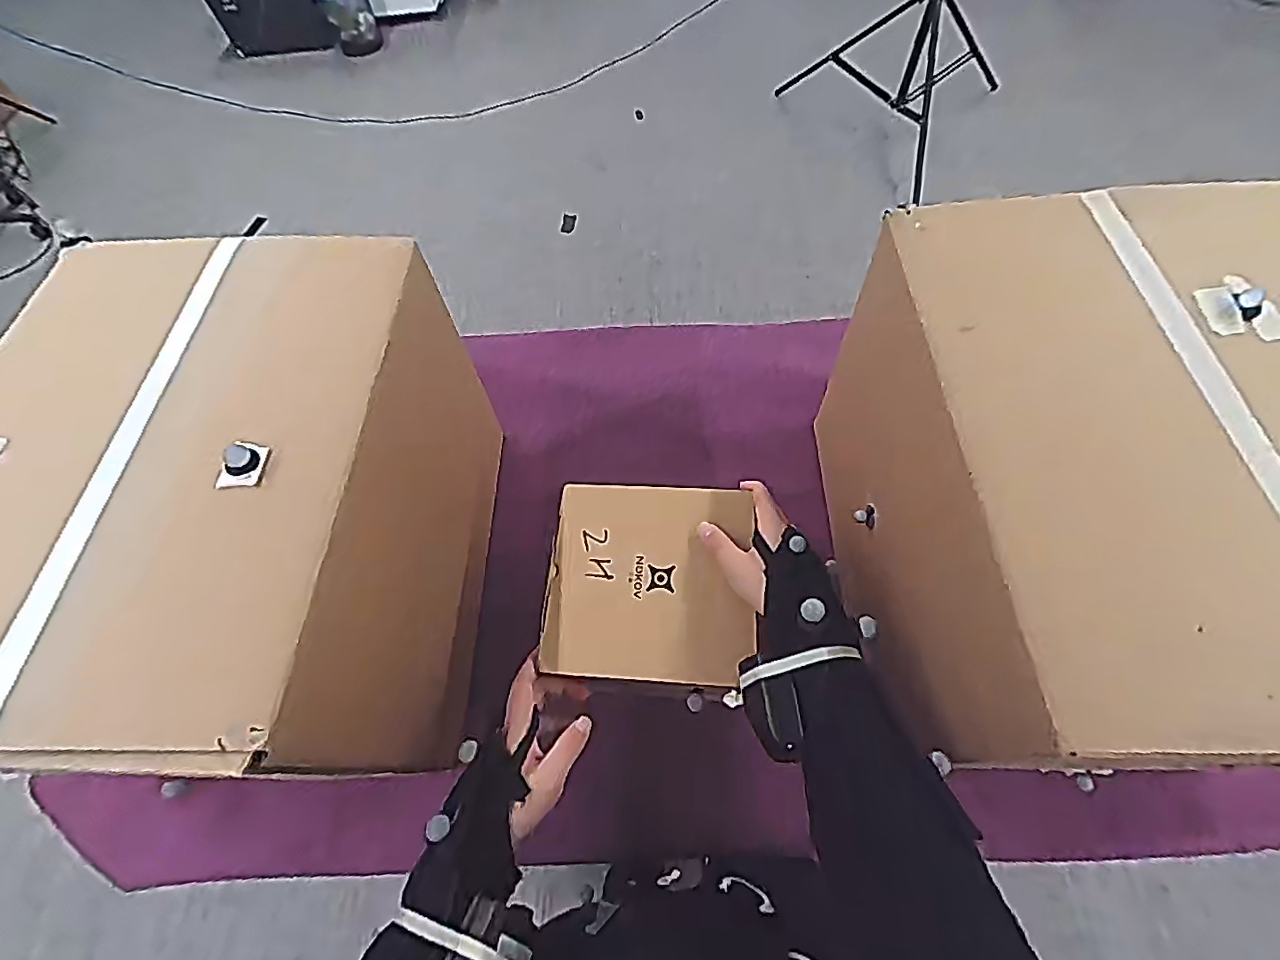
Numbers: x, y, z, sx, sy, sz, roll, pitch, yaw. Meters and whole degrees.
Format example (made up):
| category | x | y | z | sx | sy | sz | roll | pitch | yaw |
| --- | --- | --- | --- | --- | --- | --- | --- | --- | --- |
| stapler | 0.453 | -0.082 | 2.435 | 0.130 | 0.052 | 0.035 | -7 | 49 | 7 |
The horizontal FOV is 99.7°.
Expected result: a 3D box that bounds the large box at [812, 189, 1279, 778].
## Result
| category | x | y | z | sx | sy | sz | roll | pitch | yaw |
| --- | --- | --- | --- | --- | --- | --- | --- | --- | --- |
| large box | 0.361 | 0.024 | 0.467 | 0.320 | 0.320 | 0.408 | -2 | 60 | 3 |
